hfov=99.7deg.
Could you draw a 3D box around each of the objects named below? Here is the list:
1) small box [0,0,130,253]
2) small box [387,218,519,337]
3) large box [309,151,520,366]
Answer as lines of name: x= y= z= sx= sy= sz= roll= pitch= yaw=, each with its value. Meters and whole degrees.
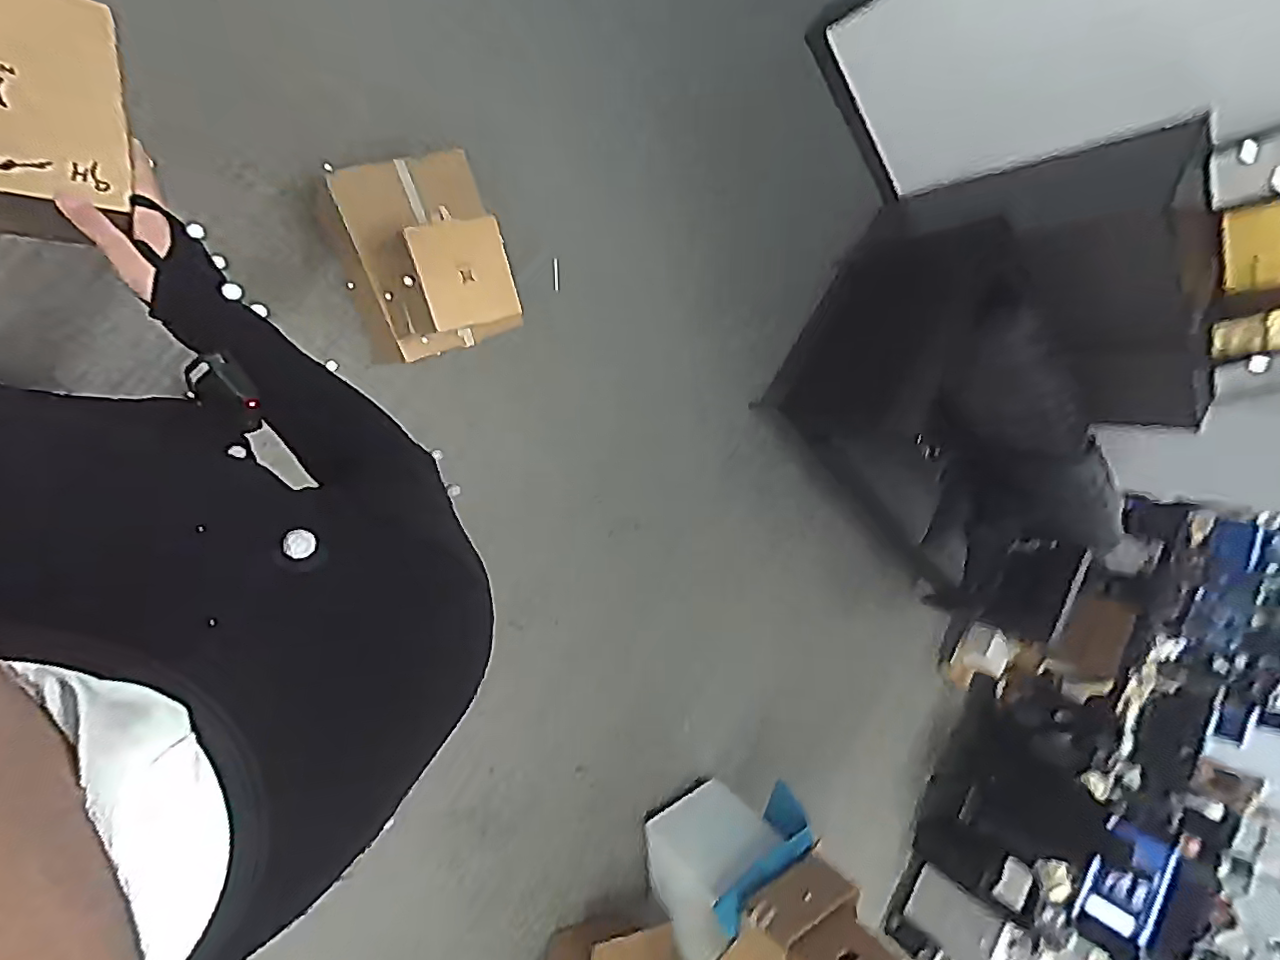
small box: x=-0.583 y=-0.323 z=0.486 sx=0.168 sy=0.176 sz=0.179 roll=-8 pitch=102 yaw=-41
small box: x=-0.354 y=-0.373 z=1.019 sx=0.168 sy=0.176 sz=0.179 roll=-25 pitch=112 yaw=-28
large box: x=-0.561 y=-0.528 z=1.348 sx=0.320 sy=0.320 sz=0.408 roll=-30 pitch=115 yaw=-29
